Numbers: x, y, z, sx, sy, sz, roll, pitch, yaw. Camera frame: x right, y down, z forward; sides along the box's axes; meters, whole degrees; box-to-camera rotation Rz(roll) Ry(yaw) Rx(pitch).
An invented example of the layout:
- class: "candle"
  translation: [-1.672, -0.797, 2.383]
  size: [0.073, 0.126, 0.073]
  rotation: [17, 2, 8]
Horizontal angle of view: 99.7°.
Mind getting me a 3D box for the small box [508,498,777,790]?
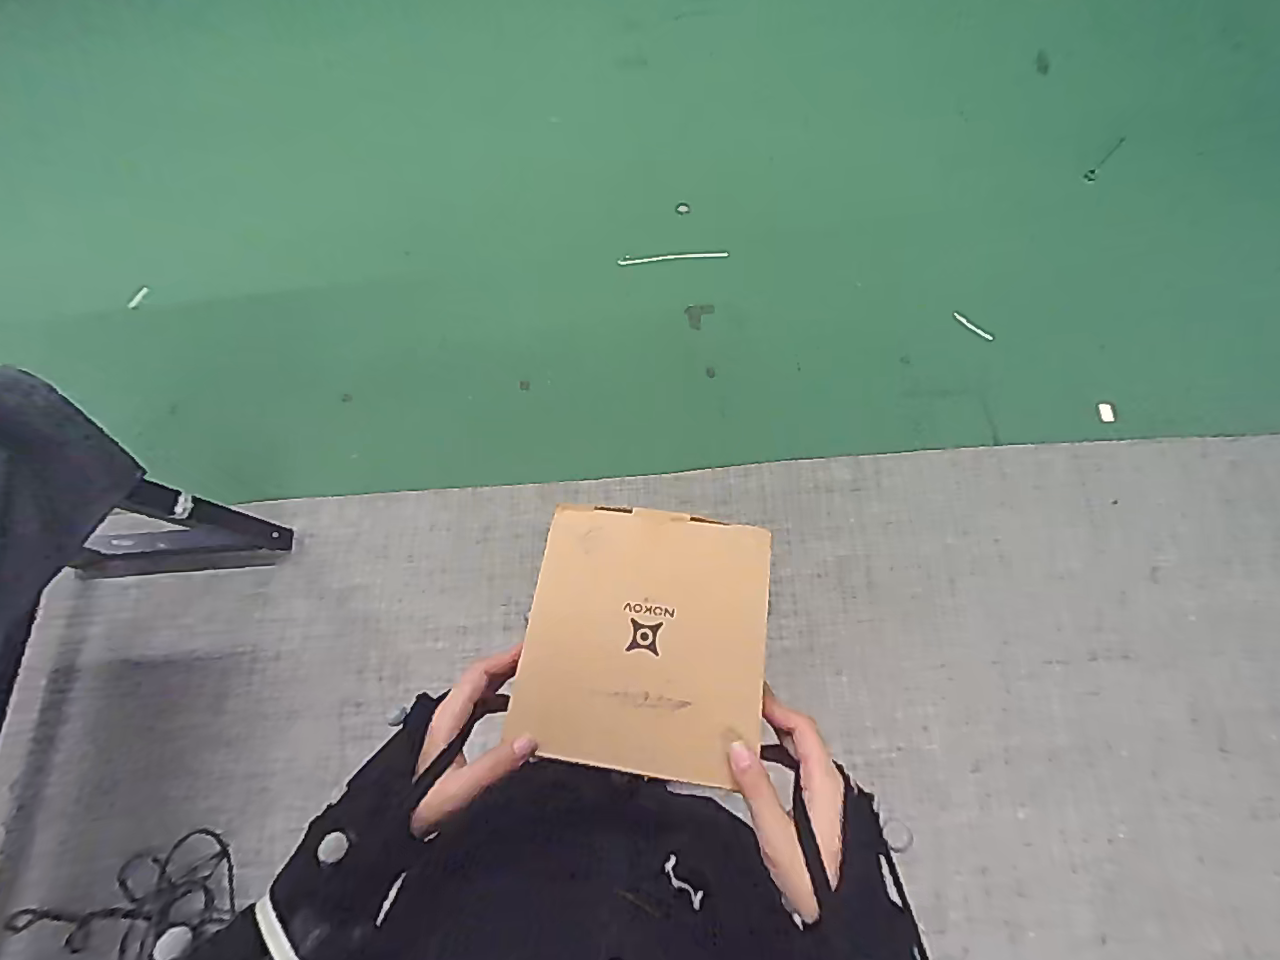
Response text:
- class: "small box"
  translation: [0.011, 0.135, 0.444]
  size: [0.168, 0.176, 0.179]
  rotation: [7, 66, 6]
